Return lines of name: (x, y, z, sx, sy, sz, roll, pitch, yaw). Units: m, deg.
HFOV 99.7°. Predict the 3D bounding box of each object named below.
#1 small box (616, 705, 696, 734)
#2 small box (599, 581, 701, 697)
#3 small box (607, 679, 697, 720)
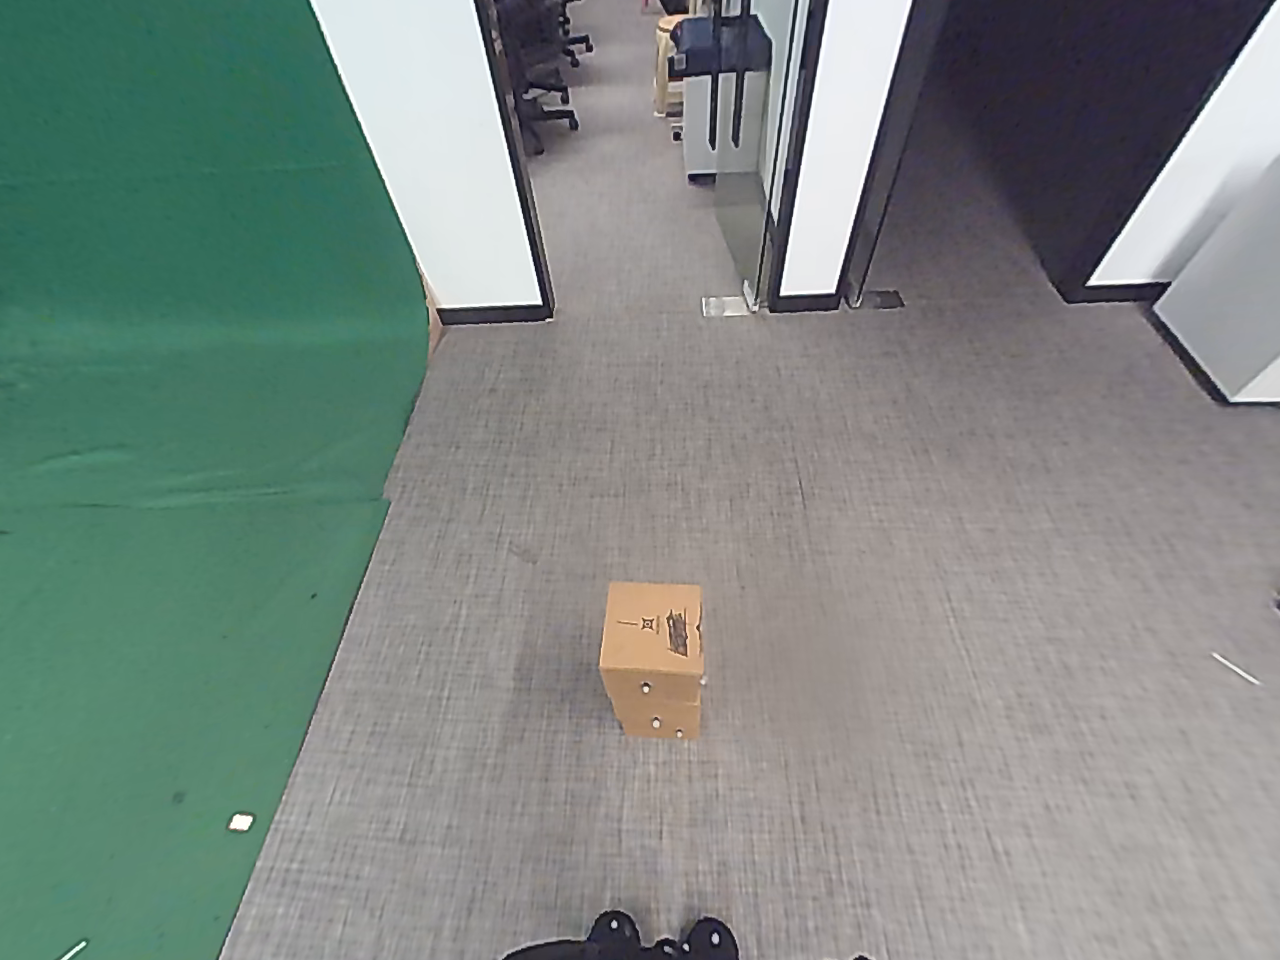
small box: (0.043, 0.502, 1.298, 0.179, 0.176, 0.168, 0, 52, 5)
small box: (0.022, 0.307, 1.034, 0.179, 0.176, 0.168, 1, 53, 3)
small box: (0.033, 0.408, 1.164, 0.179, 0.176, 0.168, 4, 53, 6)
